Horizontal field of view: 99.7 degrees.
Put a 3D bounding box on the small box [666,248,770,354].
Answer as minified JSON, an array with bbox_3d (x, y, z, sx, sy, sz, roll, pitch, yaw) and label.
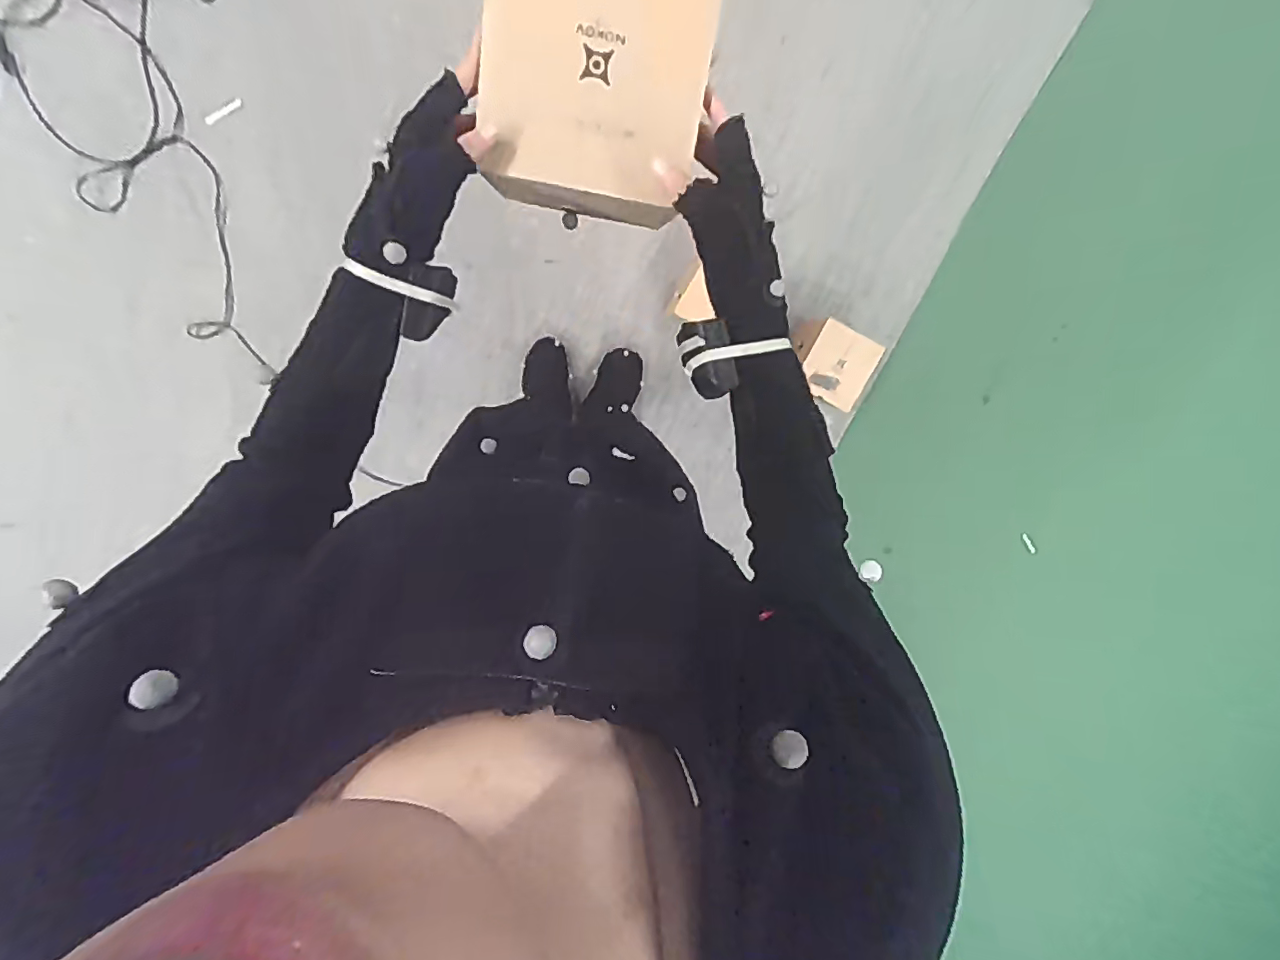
[{"bbox_3d":[0.176,-0.426,1.298,0.168,0.176,0.179,29,103,-12],"label":"small box"}]

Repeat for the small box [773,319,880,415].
[{"bbox_3d":[0.456,-0.286,1.359,0.168,0.176,0.179,24,102,-11],"label":"small box"}]

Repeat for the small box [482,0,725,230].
[{"bbox_3d":[-0.034,-0.328,0.467,0.168,0.176,0.179,6,110,-6],"label":"small box"}]
